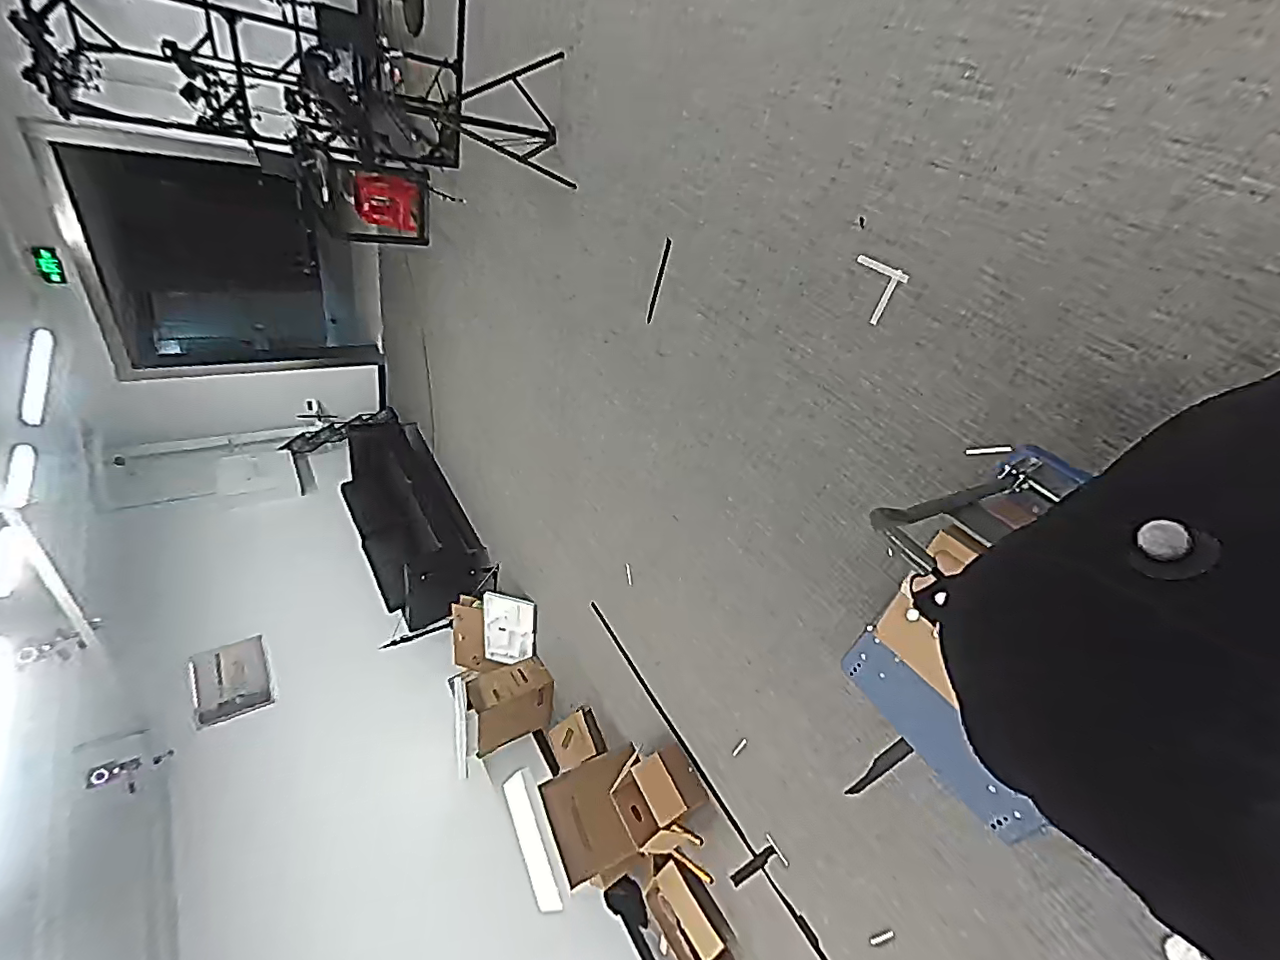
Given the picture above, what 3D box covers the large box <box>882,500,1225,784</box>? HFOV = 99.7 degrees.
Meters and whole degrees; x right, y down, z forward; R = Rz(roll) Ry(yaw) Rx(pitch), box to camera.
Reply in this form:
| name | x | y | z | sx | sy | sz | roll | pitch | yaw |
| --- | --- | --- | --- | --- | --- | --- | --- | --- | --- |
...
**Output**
| name | x | y | z | sx | sy | sz | roll | pitch | yaw |
| --- | --- | --- | --- | --- | --- | --- | --- | --- | --- |
| large box | 0.807 | 0.298 | 1.100 | 0.408 | 0.320 | 0.320 | 46 | 134 | 39 |
